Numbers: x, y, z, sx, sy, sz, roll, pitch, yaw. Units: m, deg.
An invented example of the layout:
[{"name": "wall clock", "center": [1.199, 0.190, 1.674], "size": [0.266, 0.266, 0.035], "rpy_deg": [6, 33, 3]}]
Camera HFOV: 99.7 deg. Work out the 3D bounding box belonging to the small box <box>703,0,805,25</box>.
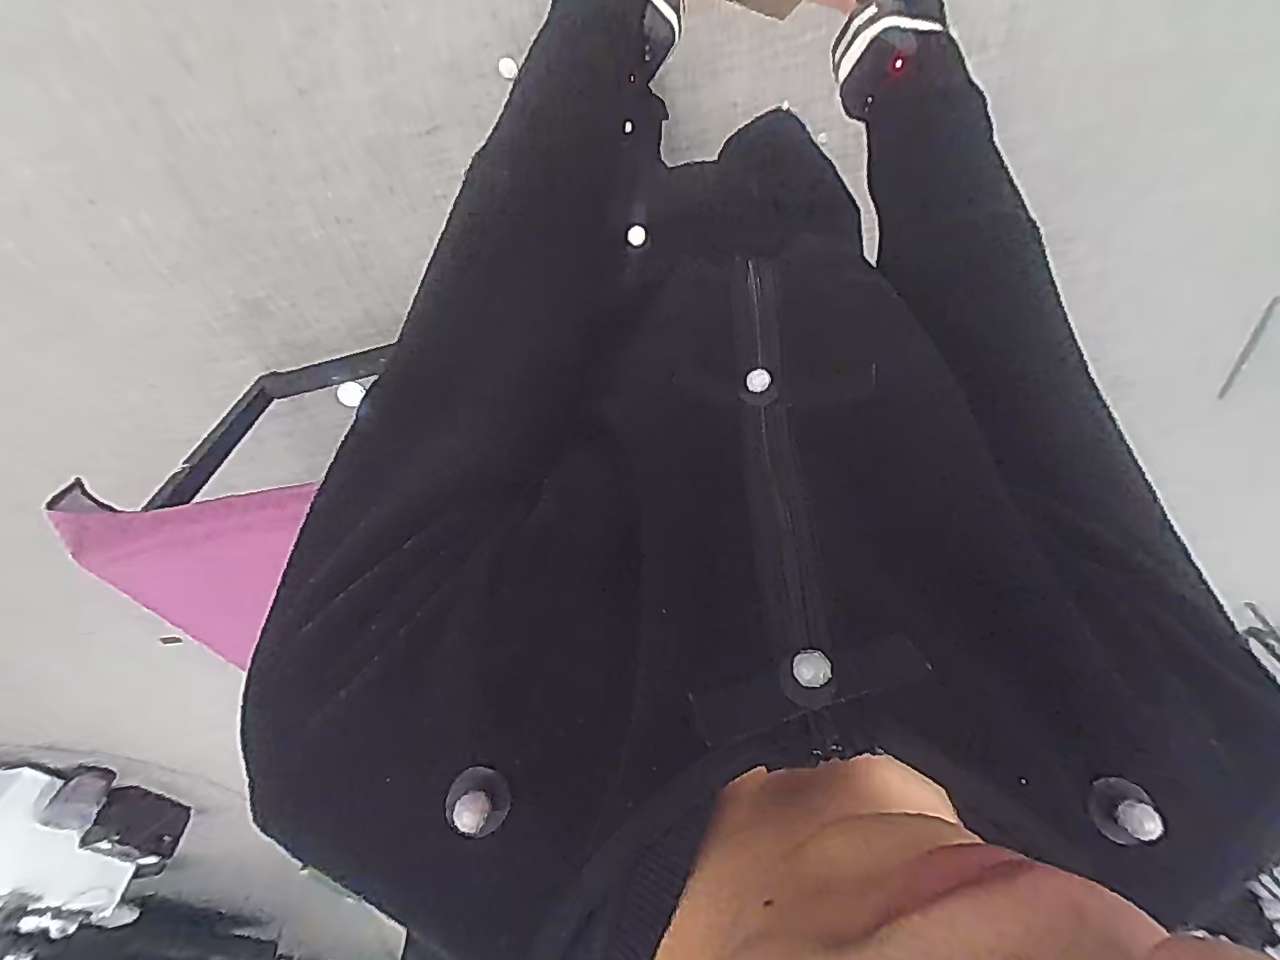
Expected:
[{"name": "small box", "center": [0.114, -0.582, 0.505], "size": [0.168, 0.176, 0.179], "rpy_deg": [11, 113, -10]}]
